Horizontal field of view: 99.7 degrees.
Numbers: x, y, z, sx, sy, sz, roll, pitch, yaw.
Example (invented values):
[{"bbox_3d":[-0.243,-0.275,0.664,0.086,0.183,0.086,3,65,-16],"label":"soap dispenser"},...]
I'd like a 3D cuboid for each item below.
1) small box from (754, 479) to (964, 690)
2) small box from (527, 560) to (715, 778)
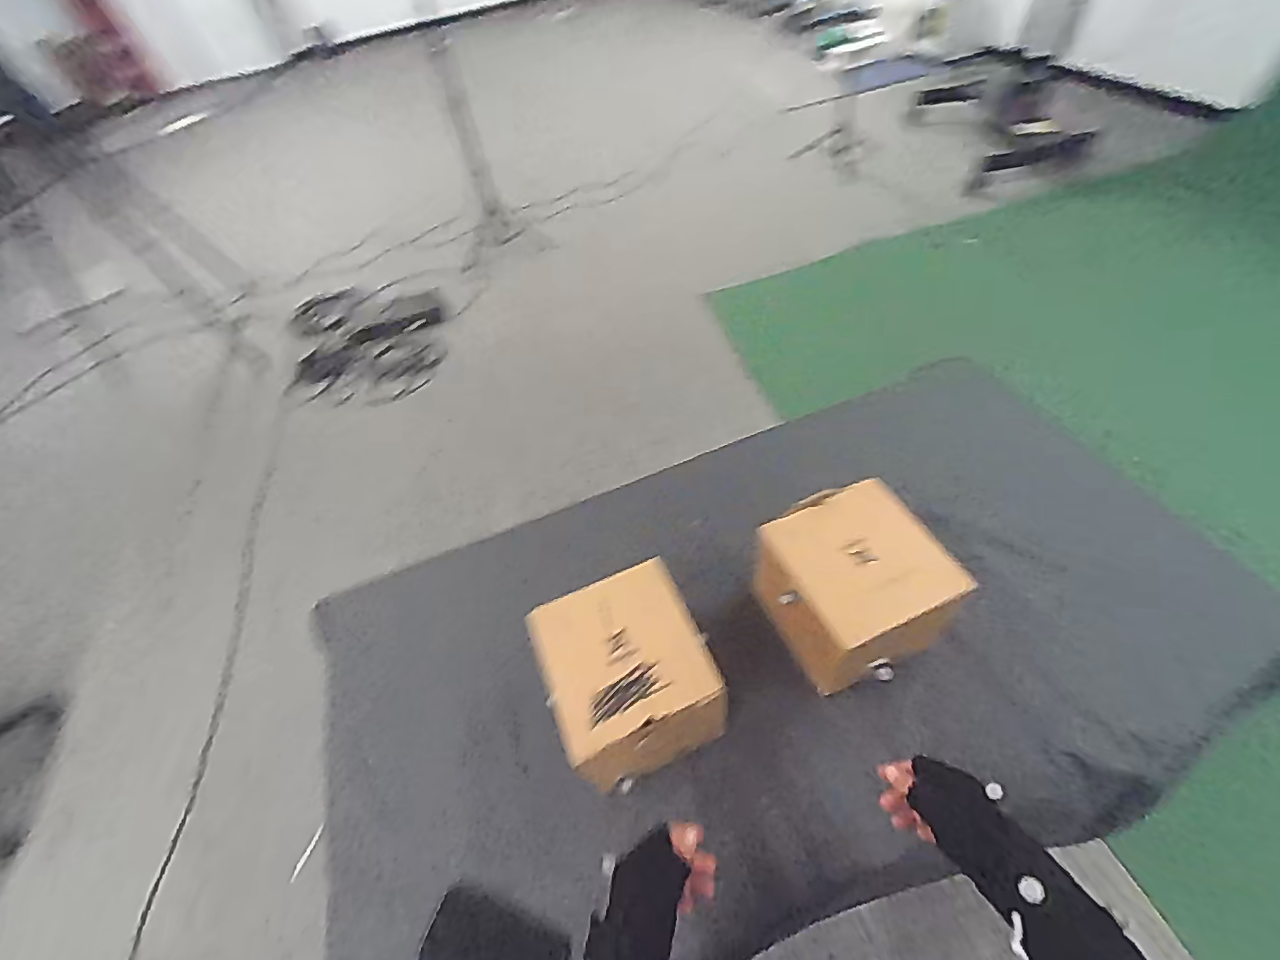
[{"bbox_3d":[0.258,0.136,0.692,0.168,0.176,0.179,-23,53,-9],"label":"small box"},{"bbox_3d":[-0.017,0.234,0.651,0.168,0.176,0.179,-22,50,-9],"label":"small box"}]
